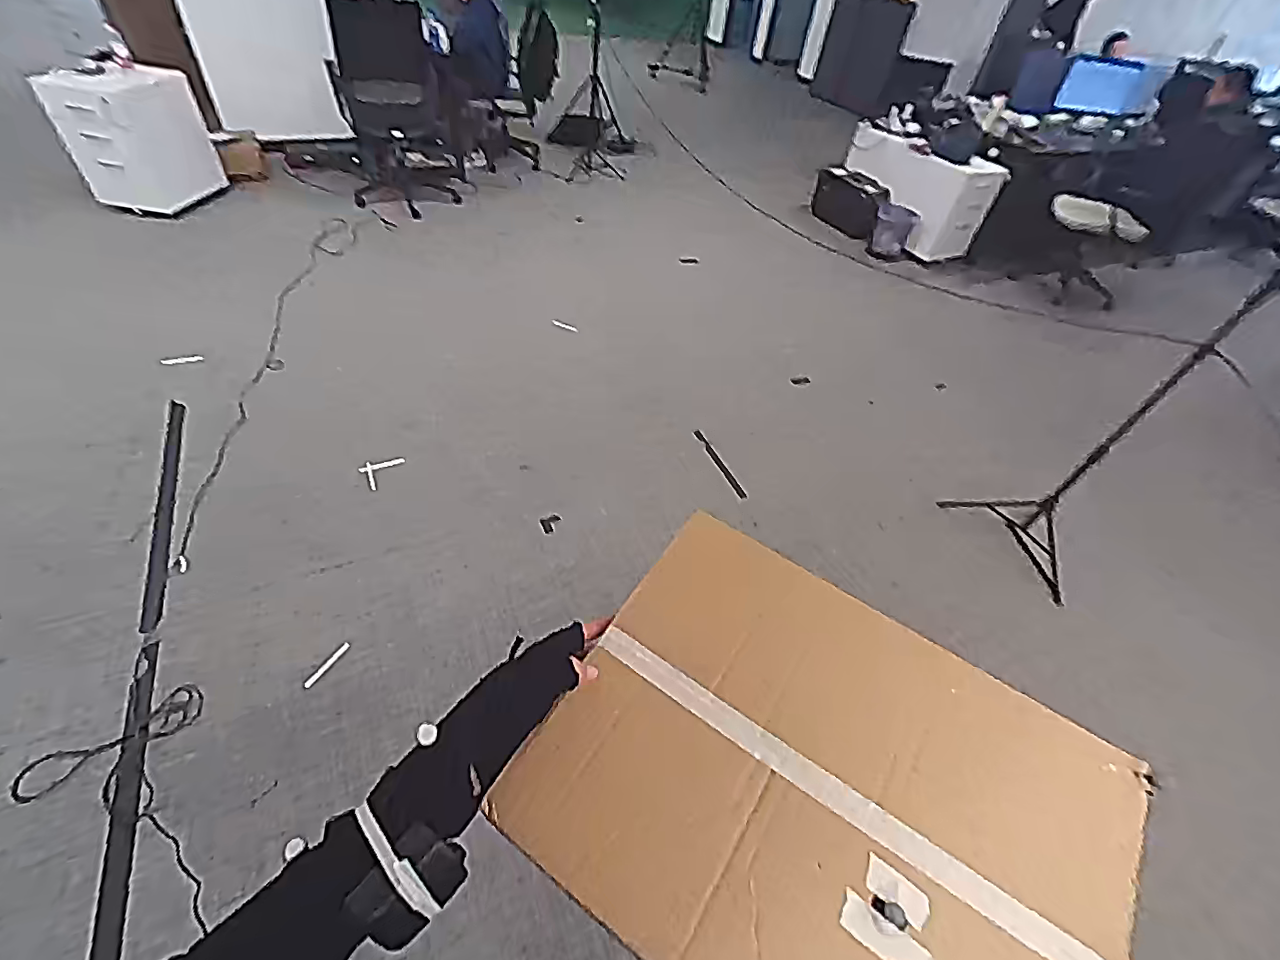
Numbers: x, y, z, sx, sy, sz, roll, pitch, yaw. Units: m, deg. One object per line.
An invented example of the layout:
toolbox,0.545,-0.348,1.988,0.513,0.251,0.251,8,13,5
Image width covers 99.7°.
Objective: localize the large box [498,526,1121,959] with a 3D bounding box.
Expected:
large box,0.133,0.321,0.539,0.408,0.320,0.320,30,60,18
